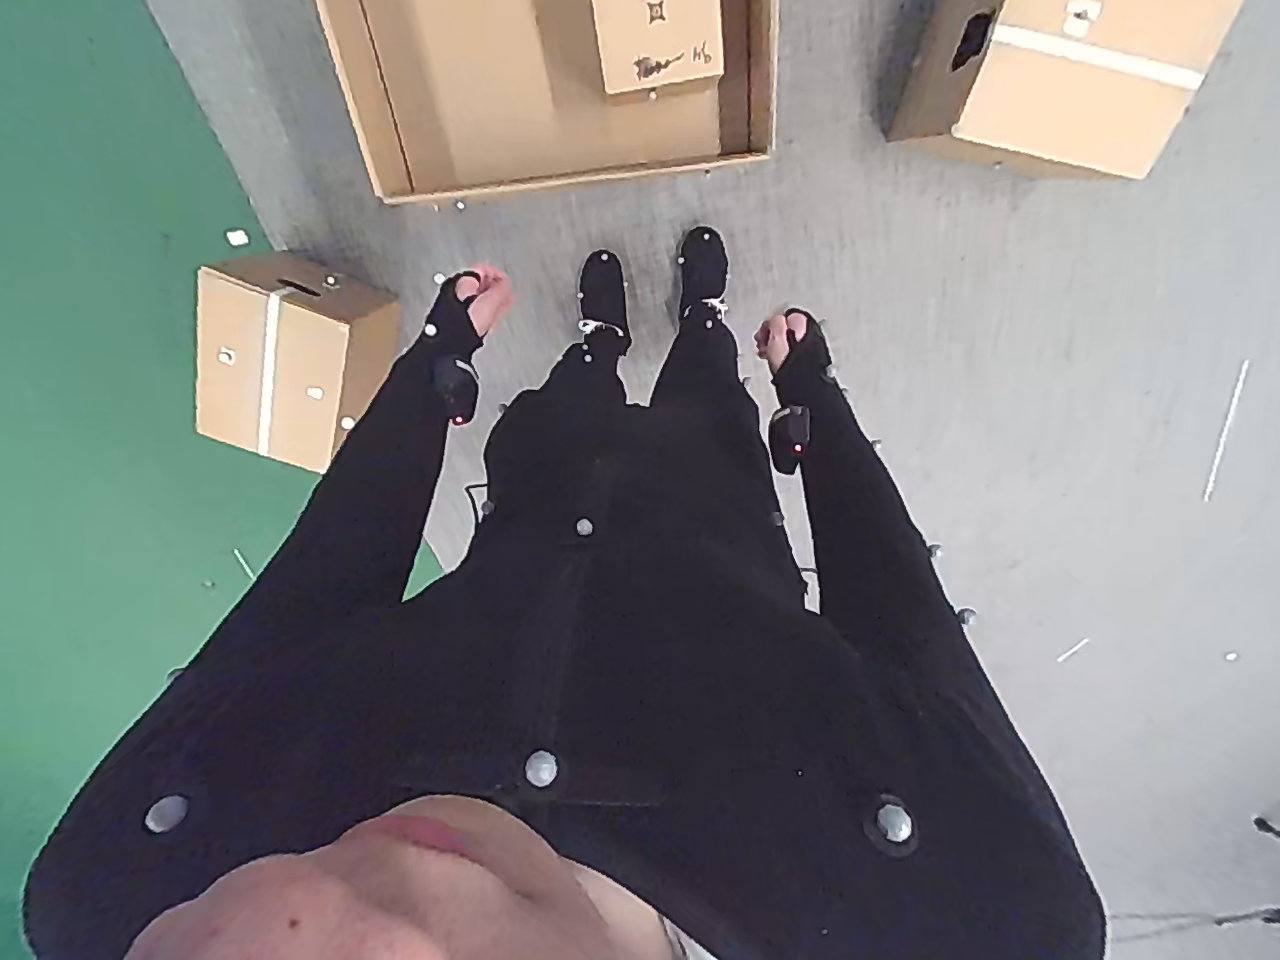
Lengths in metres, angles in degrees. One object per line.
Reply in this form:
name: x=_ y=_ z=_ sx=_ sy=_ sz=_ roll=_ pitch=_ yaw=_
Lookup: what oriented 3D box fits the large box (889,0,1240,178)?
large box: x=0.799 y=-0.817 z=1.083 sx=0.408 sy=0.320 sz=0.320 roll=9 pitch=119 yaw=-5
